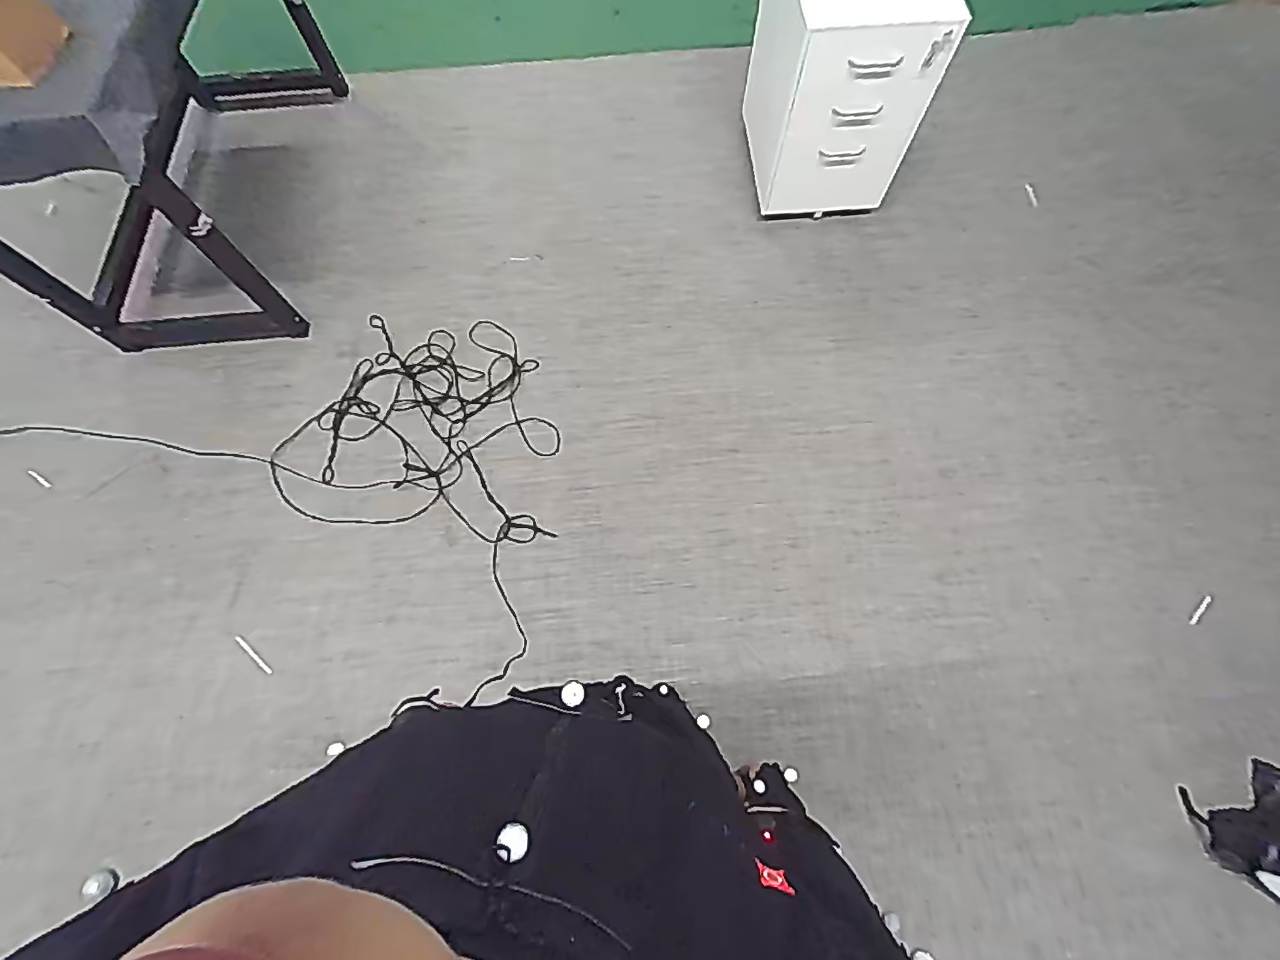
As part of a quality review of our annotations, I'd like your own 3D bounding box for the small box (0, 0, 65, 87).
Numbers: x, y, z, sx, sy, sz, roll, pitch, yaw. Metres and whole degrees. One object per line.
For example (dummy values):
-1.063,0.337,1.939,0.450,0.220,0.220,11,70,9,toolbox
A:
-1.245,-0.865,0.999,0.168,0.176,0.179,2,68,1,small box
